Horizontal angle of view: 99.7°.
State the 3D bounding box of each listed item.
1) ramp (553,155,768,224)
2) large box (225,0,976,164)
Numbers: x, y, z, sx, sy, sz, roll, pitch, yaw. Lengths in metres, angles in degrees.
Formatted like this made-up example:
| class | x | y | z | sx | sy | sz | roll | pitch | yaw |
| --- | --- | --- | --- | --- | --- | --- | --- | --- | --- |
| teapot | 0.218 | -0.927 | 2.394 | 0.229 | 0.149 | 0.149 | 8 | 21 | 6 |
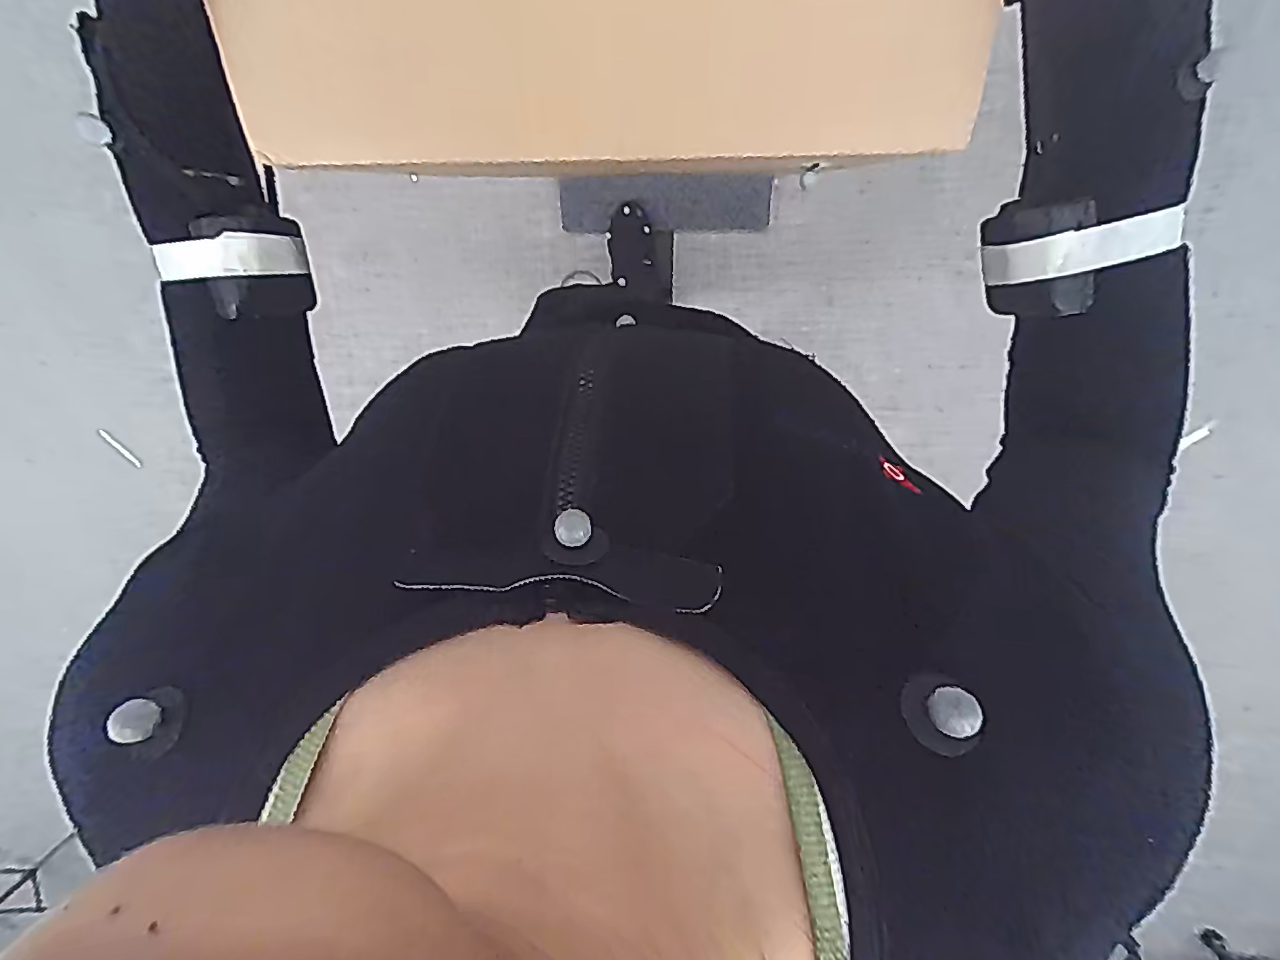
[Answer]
| class | x | y | z | sx | sy | sz | roll | pitch | yaw |
| --- | --- | --- | --- | --- | --- | --- | --- | --- | --- |
| ramp | 0.037 | -1.047 | 1.039 | 0.509 | 0.206 | 0.991 | -1 | 111 | 3 |
| large box | -0.018 | -0.401 | 0.372 | 0.408 | 0.320 | 0.320 | 1 | 118 | 2 |
